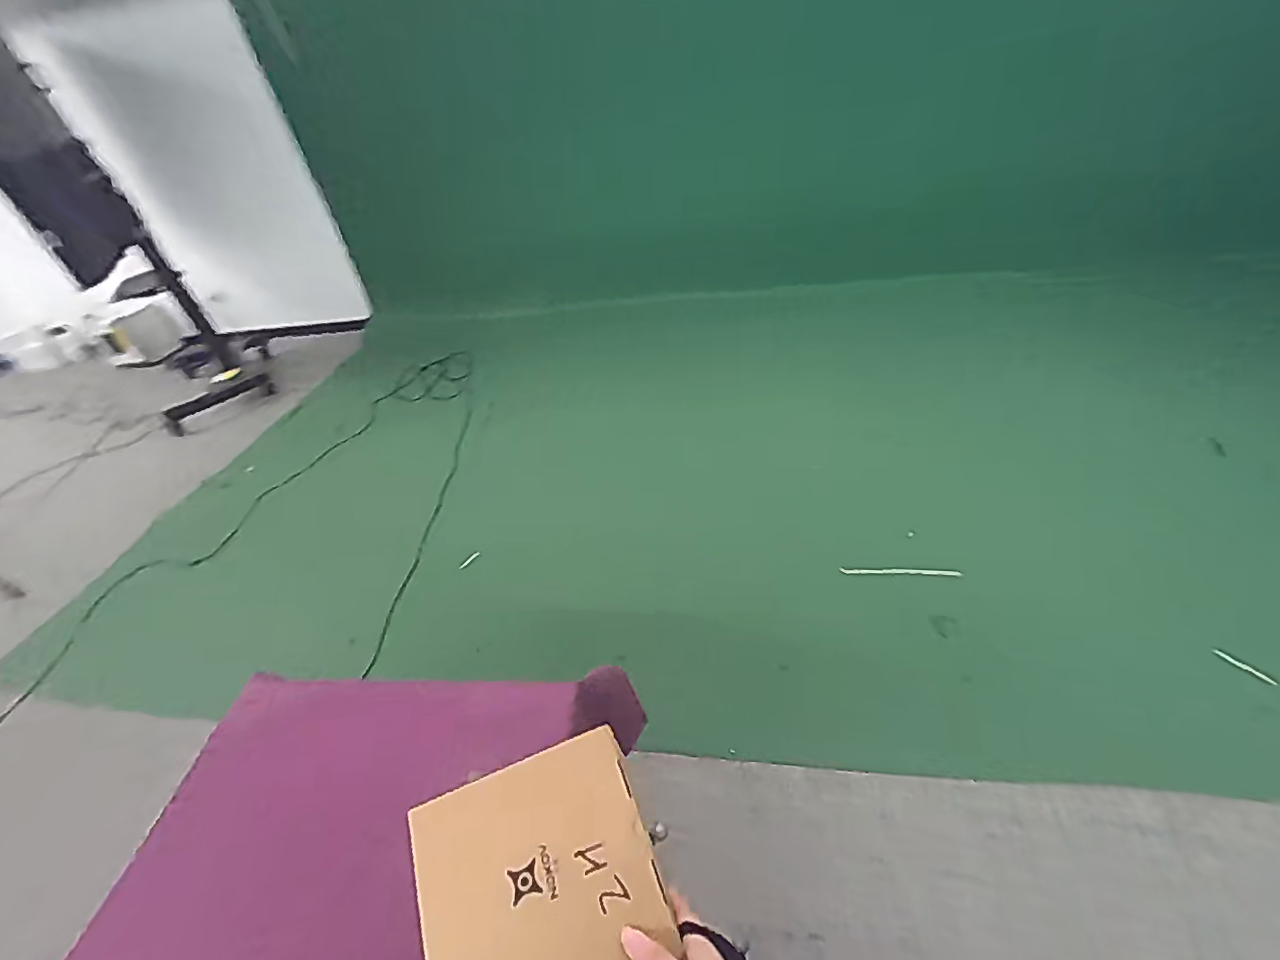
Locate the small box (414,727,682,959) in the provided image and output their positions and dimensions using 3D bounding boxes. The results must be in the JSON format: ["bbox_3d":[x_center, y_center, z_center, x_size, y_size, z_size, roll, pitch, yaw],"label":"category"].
[{"bbox_3d":[-0.072,0.348,0.475,0.179,0.176,0.168,-19,55,-9],"label":"small box"}]
